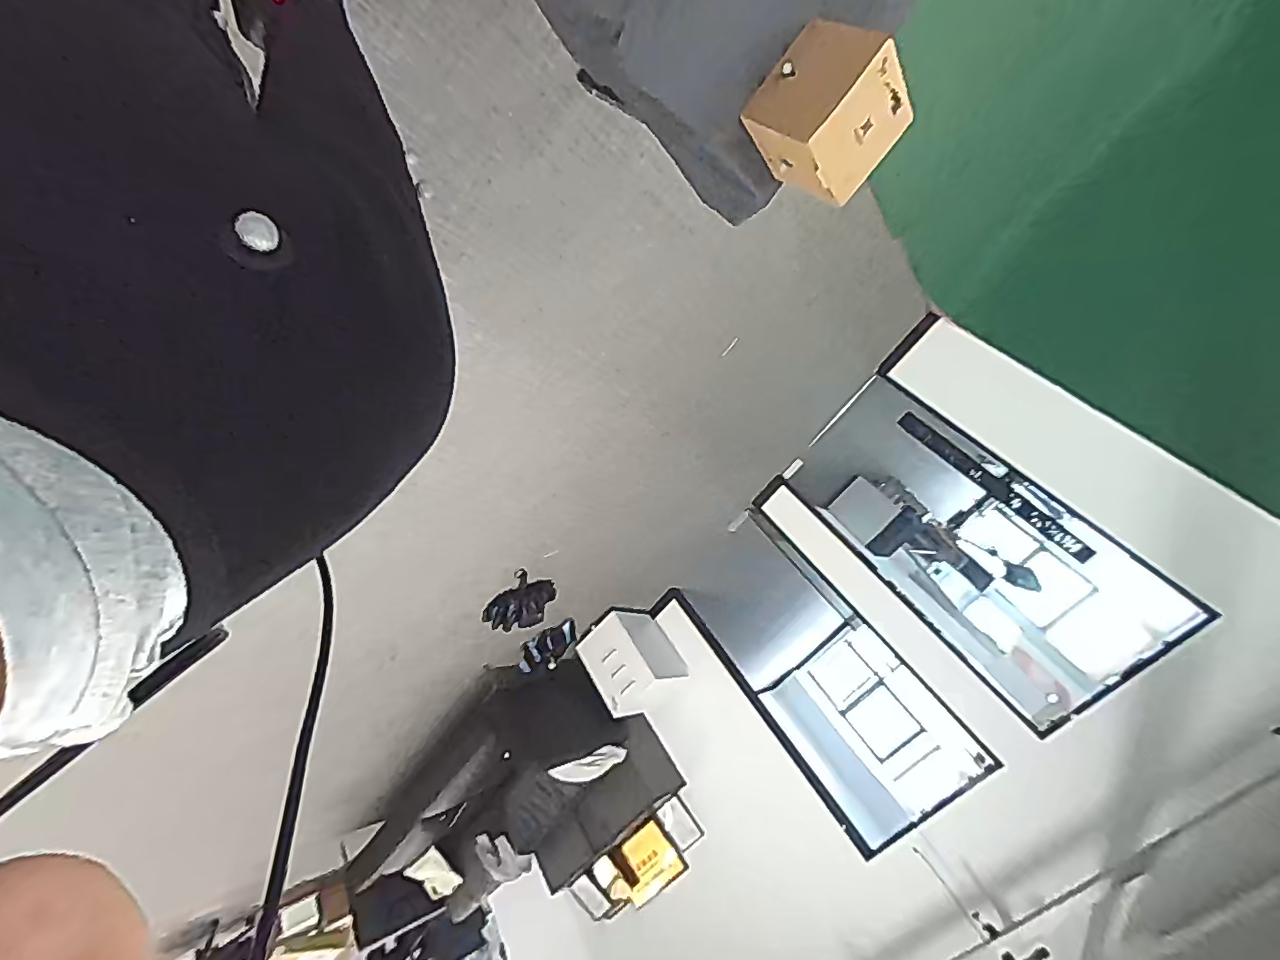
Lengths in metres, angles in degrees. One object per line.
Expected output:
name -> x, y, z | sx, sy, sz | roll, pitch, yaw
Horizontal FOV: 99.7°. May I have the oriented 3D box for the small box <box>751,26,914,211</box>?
small box -> 0.310, -0.596, 0.897 | 0.179, 0.176, 0.168 | -50, 144, 15
